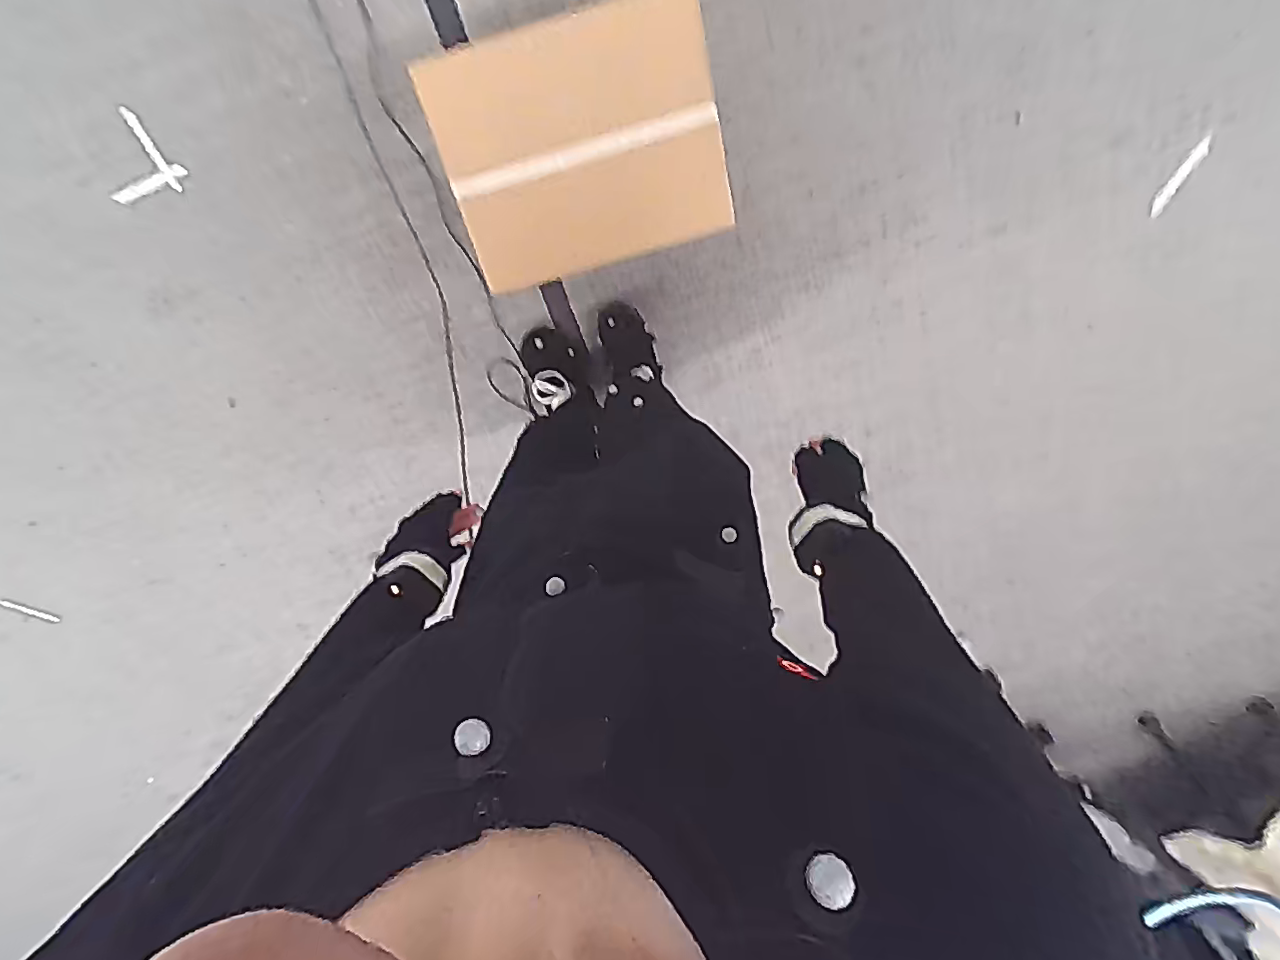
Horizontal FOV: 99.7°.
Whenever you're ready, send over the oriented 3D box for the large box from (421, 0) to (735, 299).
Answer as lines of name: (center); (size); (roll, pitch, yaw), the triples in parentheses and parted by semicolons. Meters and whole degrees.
large box: (-0.086, -0.543, 0.936); (0.408, 0.320, 0.320); (-15, 115, 4)
